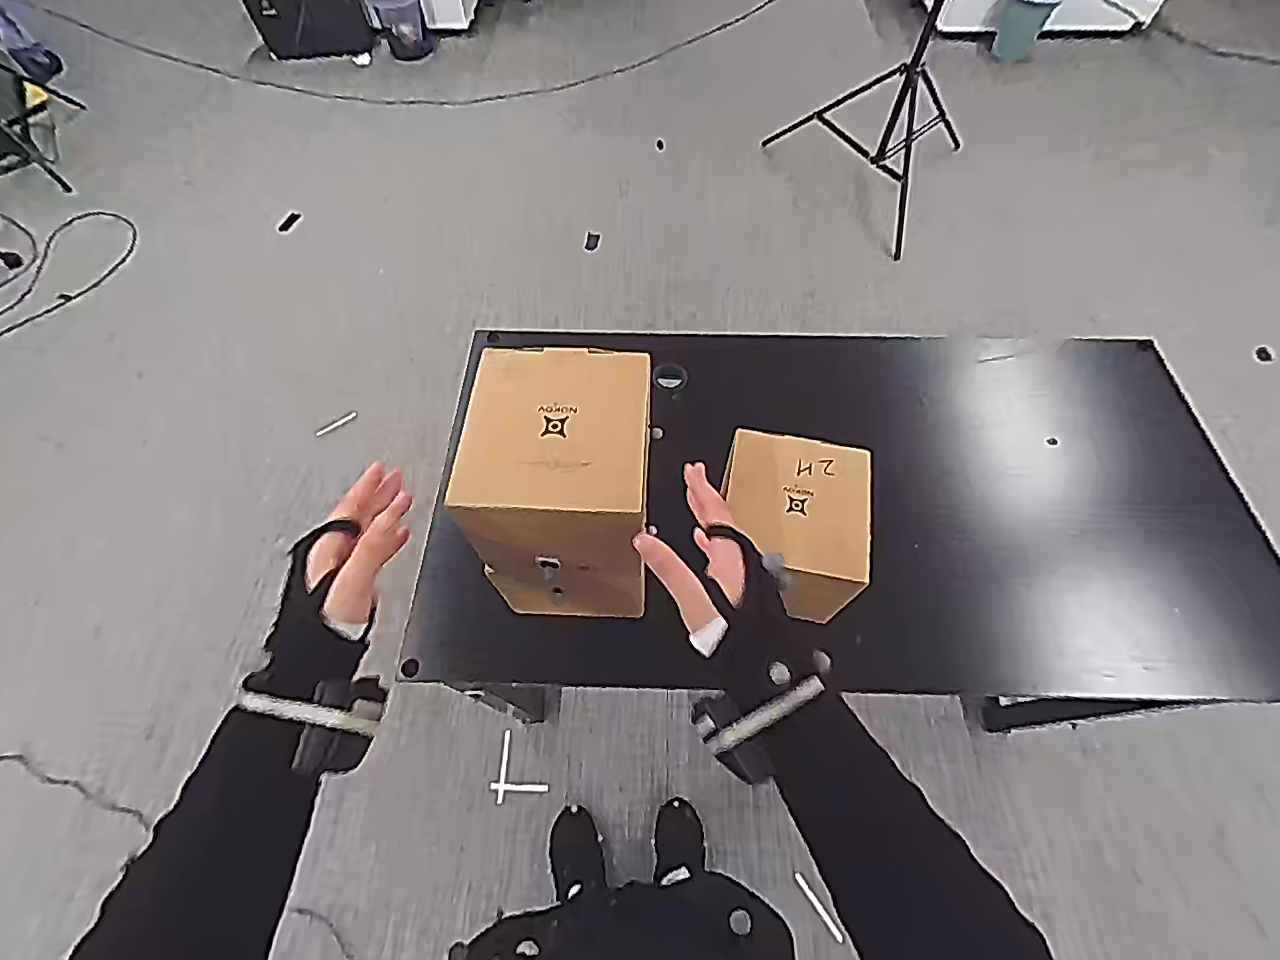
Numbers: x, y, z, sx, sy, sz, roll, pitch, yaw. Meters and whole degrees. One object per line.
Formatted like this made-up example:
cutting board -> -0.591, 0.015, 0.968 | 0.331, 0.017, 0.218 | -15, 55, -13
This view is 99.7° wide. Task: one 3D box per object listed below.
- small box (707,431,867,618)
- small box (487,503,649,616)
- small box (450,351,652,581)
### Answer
small box -> 0.183, 0.065, 0.704 | 0.168, 0.176, 0.179 | 10, 60, 6
small box -> -0.079, 0.073, 0.703 | 0.179, 0.176, 0.168 | 1, 60, 2
small box -> -0.074, -0.010, 0.561 | 0.168, 0.176, 0.179 | 2, 61, 2
